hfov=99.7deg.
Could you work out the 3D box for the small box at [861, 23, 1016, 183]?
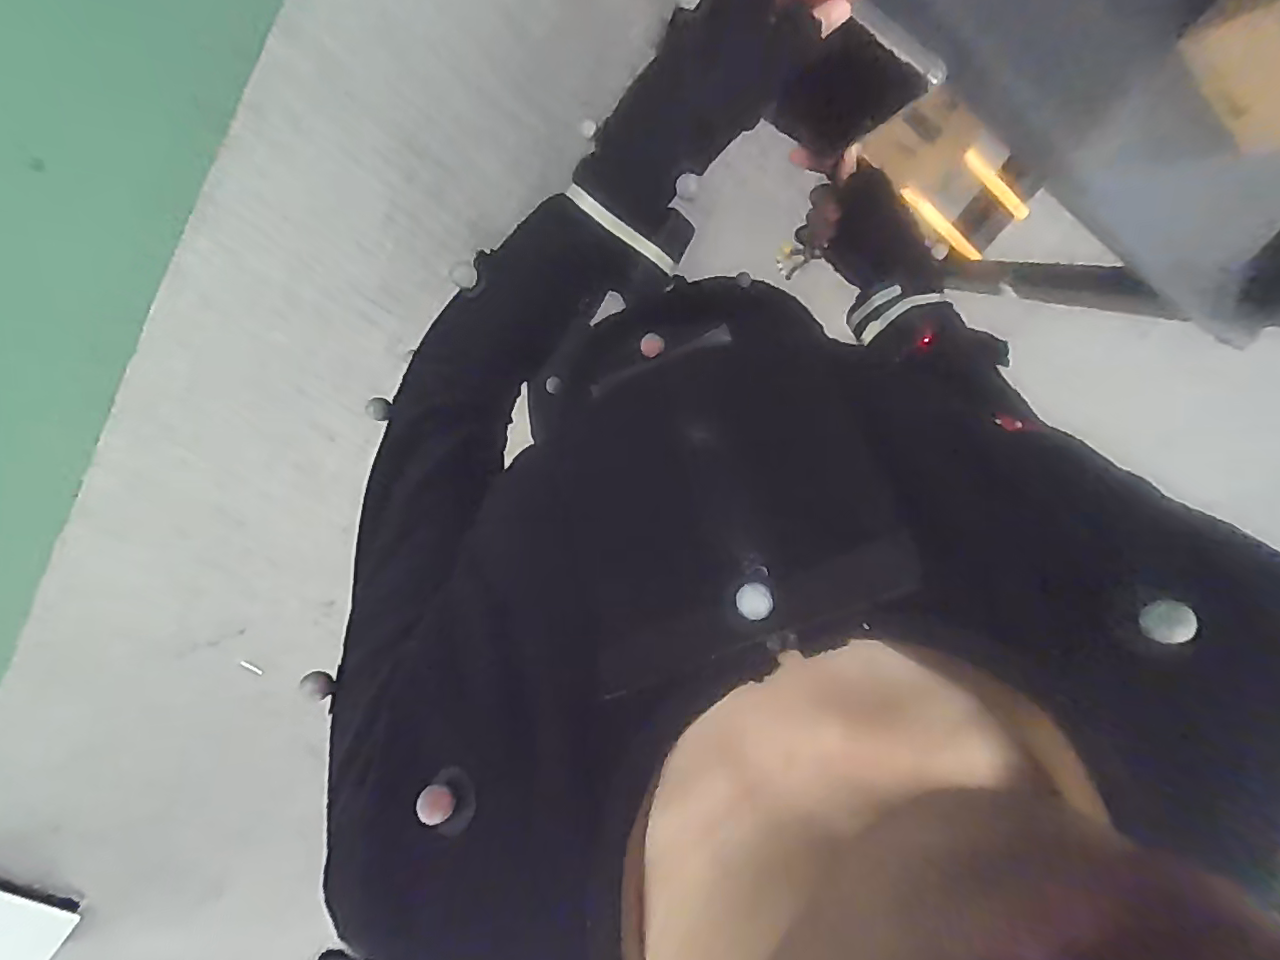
[{"bbox_3d":[0.556,-0.705,1.041,0.168,0.176,0.179,37,107,-17],"label":"small box"}]
